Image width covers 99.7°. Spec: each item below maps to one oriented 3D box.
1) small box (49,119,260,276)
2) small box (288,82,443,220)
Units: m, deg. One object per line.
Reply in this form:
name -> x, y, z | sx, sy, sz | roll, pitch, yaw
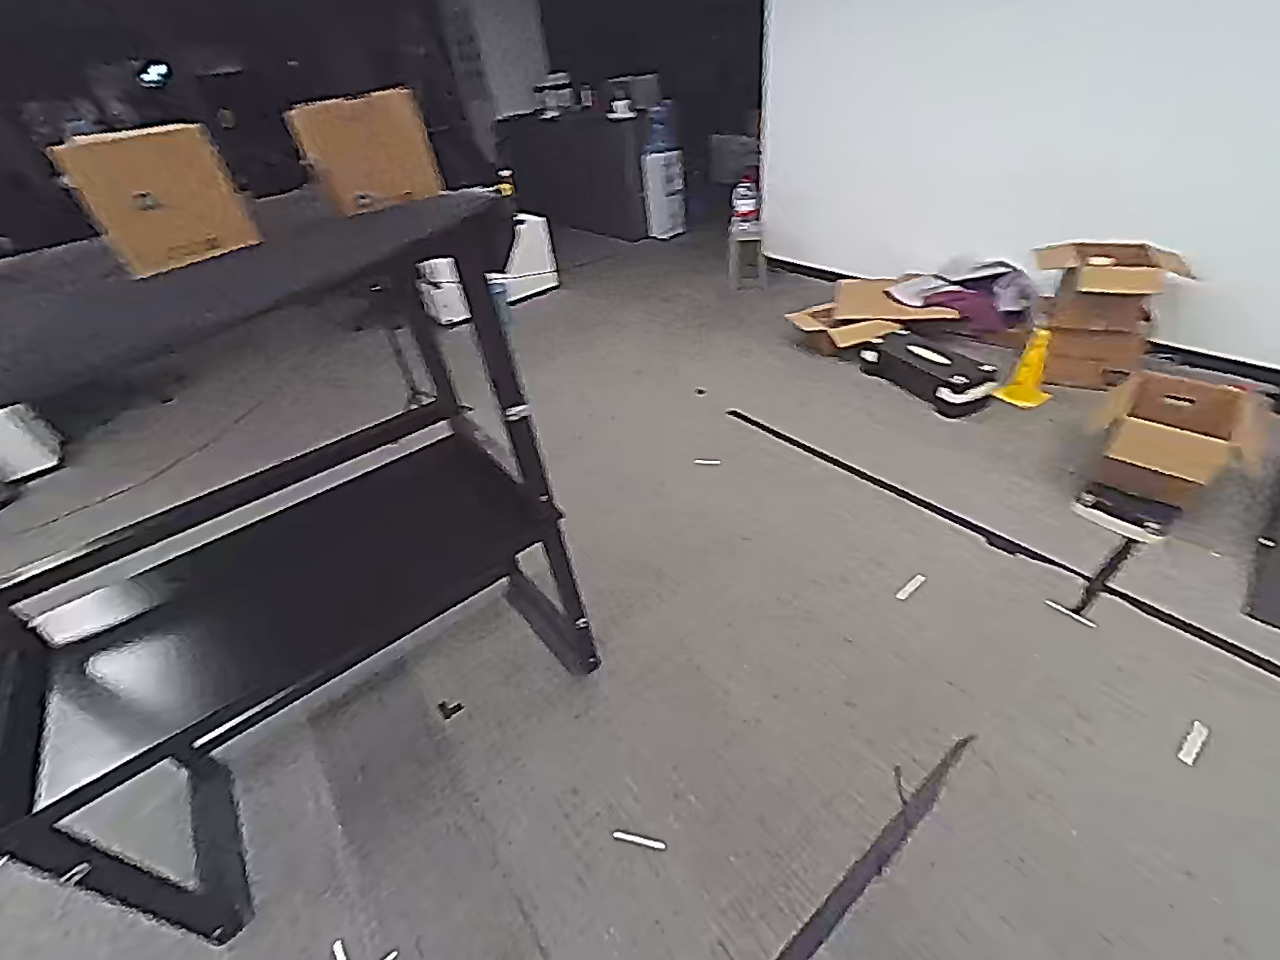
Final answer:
small box -> -0.697, -0.414, 0.794 | 0.168, 0.176, 0.179 | -32, 42, -26
small box -> -0.460, -0.553, 0.919 | 0.168, 0.176, 0.179 | -29, 39, -23
